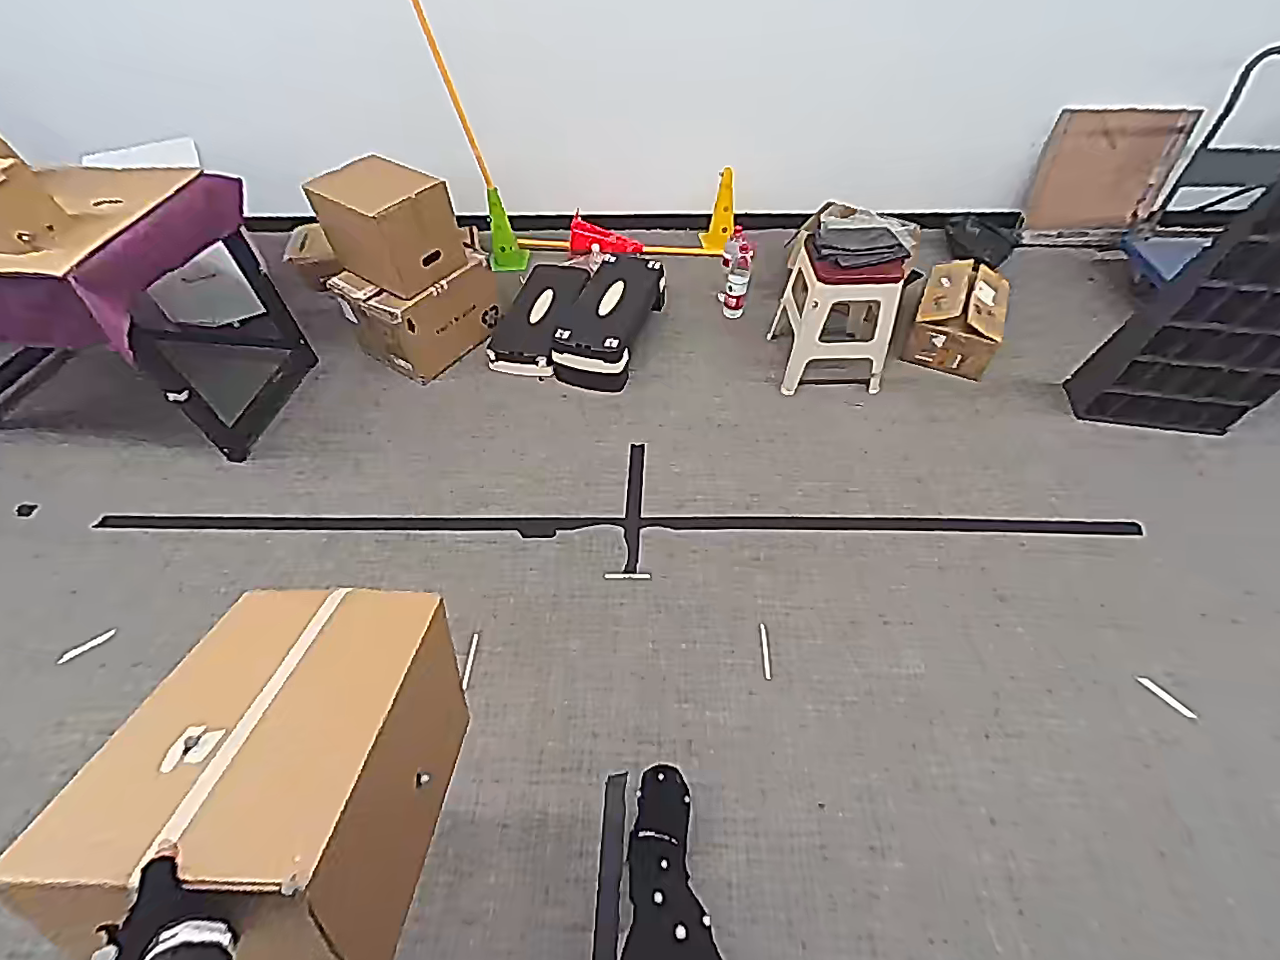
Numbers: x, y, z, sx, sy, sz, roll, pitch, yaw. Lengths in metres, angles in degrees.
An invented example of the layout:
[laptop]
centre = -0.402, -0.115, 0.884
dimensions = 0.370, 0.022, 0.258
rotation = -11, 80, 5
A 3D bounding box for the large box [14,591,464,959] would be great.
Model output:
[large box]
centre = -0.478, 0.415, 0.784
dimensions = 0.320, 0.320, 0.408
rotation = 1, 32, 1
